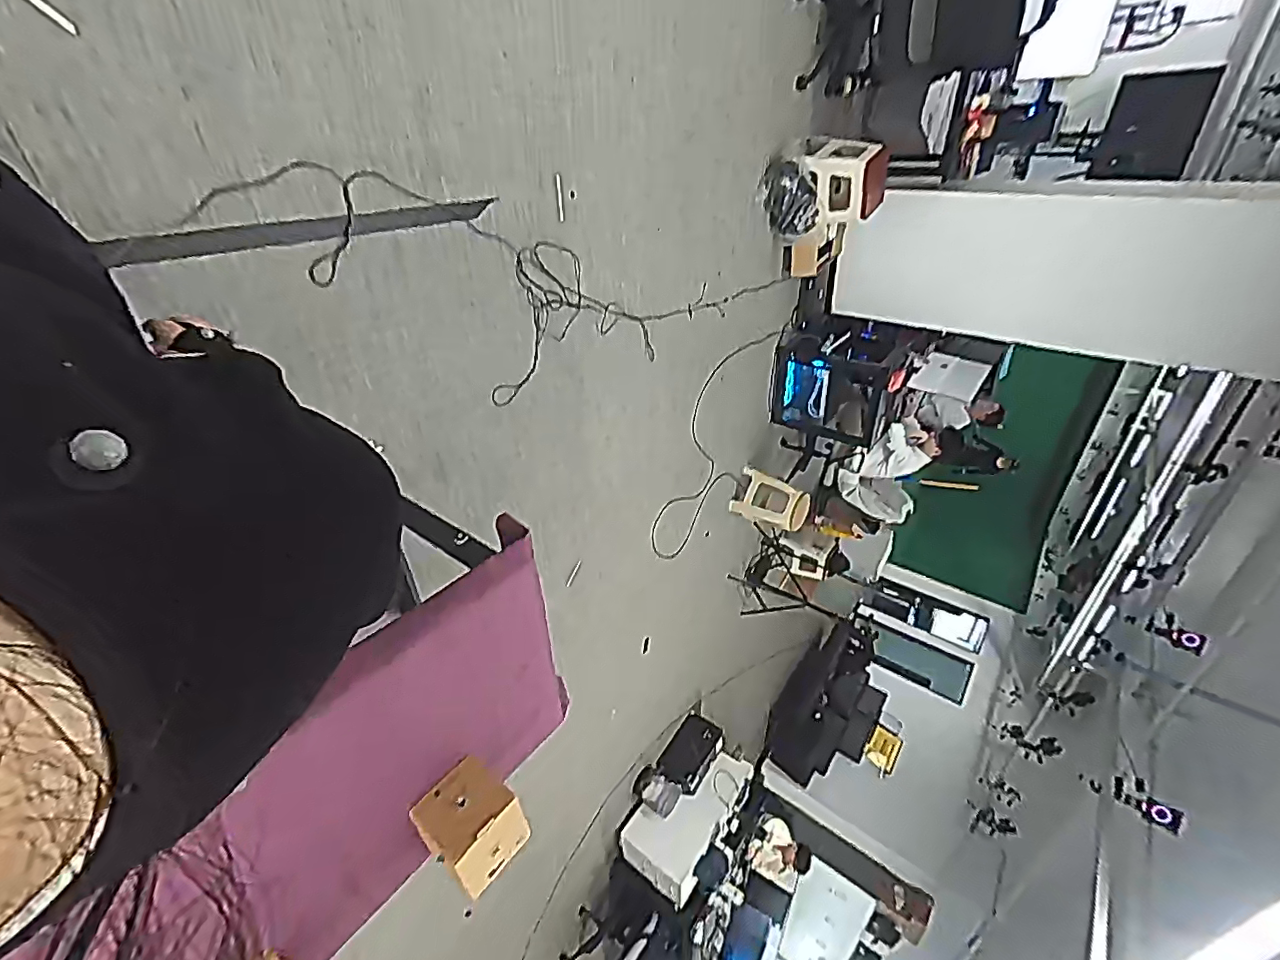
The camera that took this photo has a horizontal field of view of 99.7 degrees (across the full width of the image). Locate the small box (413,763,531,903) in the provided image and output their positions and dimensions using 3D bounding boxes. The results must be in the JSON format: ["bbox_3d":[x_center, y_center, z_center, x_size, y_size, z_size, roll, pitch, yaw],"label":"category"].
[{"bbox_3d":[-0.370,0.766,1.195,0.168,0.176,0.179,-36,133,-40],"label":"small box"}]
